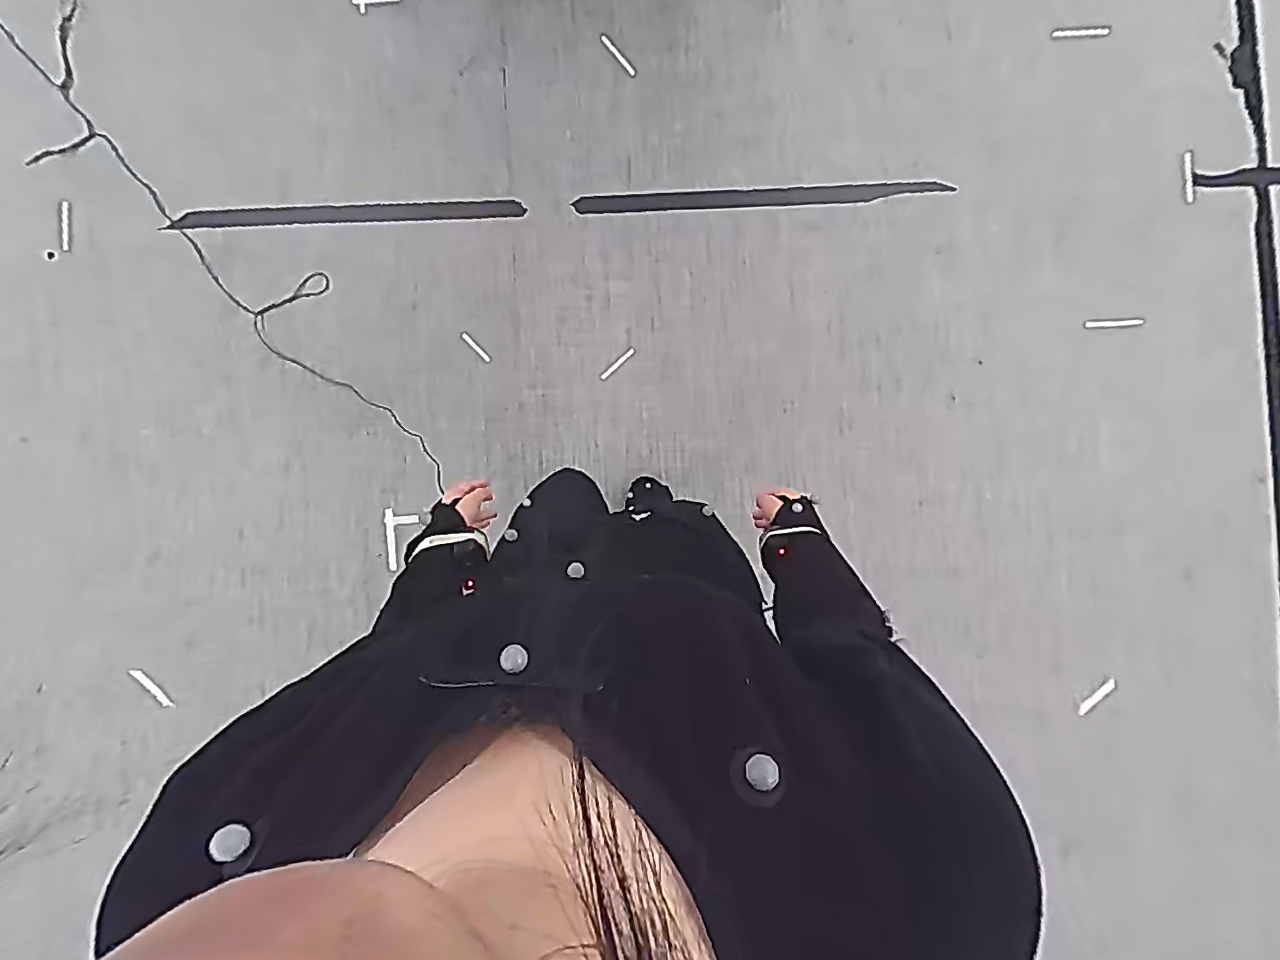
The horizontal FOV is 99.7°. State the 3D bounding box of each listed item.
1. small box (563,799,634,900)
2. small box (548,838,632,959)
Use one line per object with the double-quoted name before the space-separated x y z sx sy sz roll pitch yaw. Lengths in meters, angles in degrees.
"small box" -0.104 0.959 1.409 0.168 0.176 0.179 -5 89 1
"small box" -0.110 0.958 1.246 0.168 0.176 0.179 -5 90 2
